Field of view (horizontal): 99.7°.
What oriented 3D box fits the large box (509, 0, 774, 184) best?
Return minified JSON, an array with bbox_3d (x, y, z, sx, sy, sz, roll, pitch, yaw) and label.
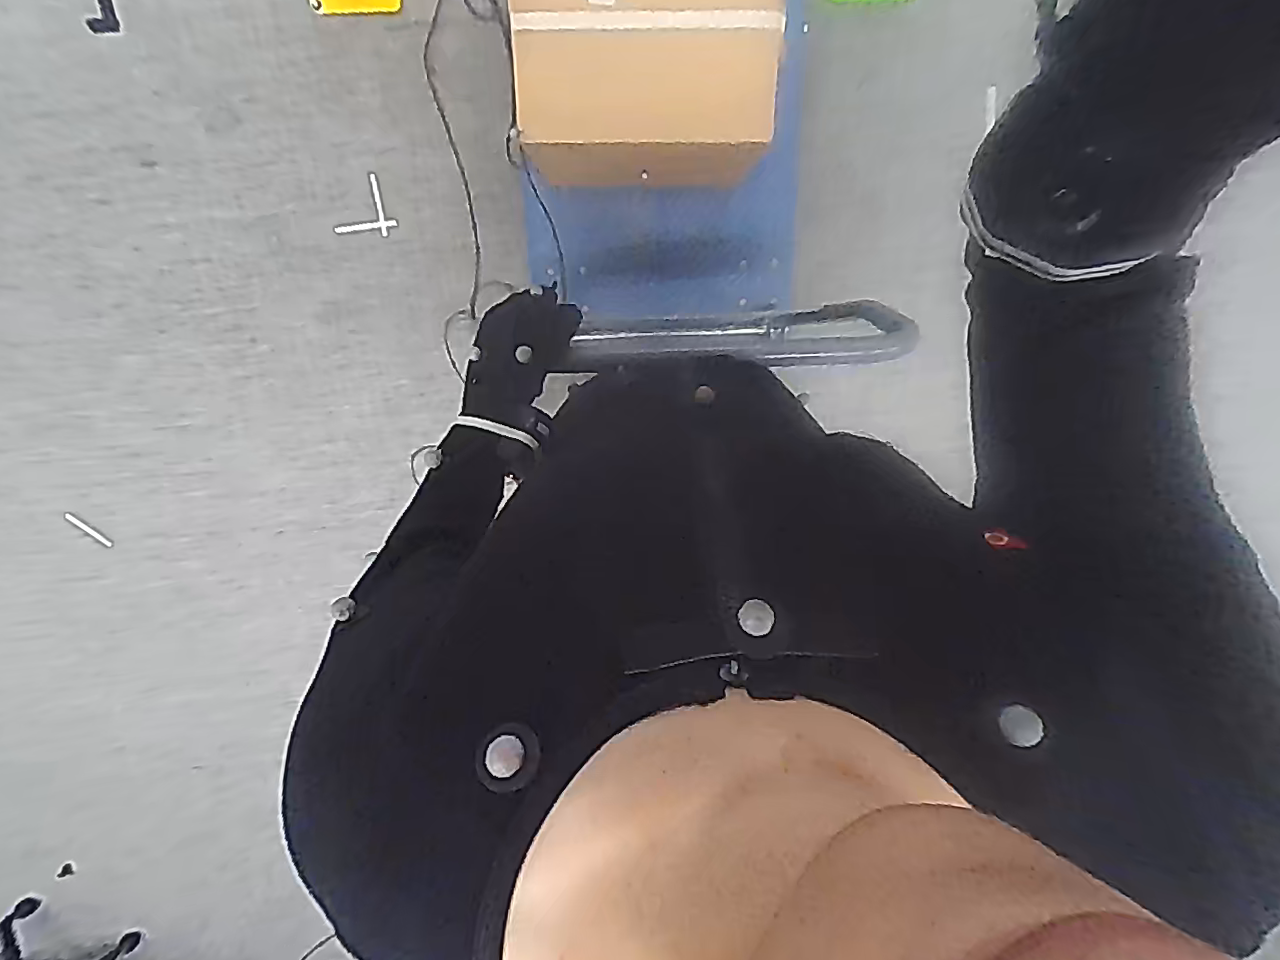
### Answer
[{"bbox_3d":[0.005,-0.727,0.957,0.408,0.320,0.320,0,107,0],"label":"large box"}]
